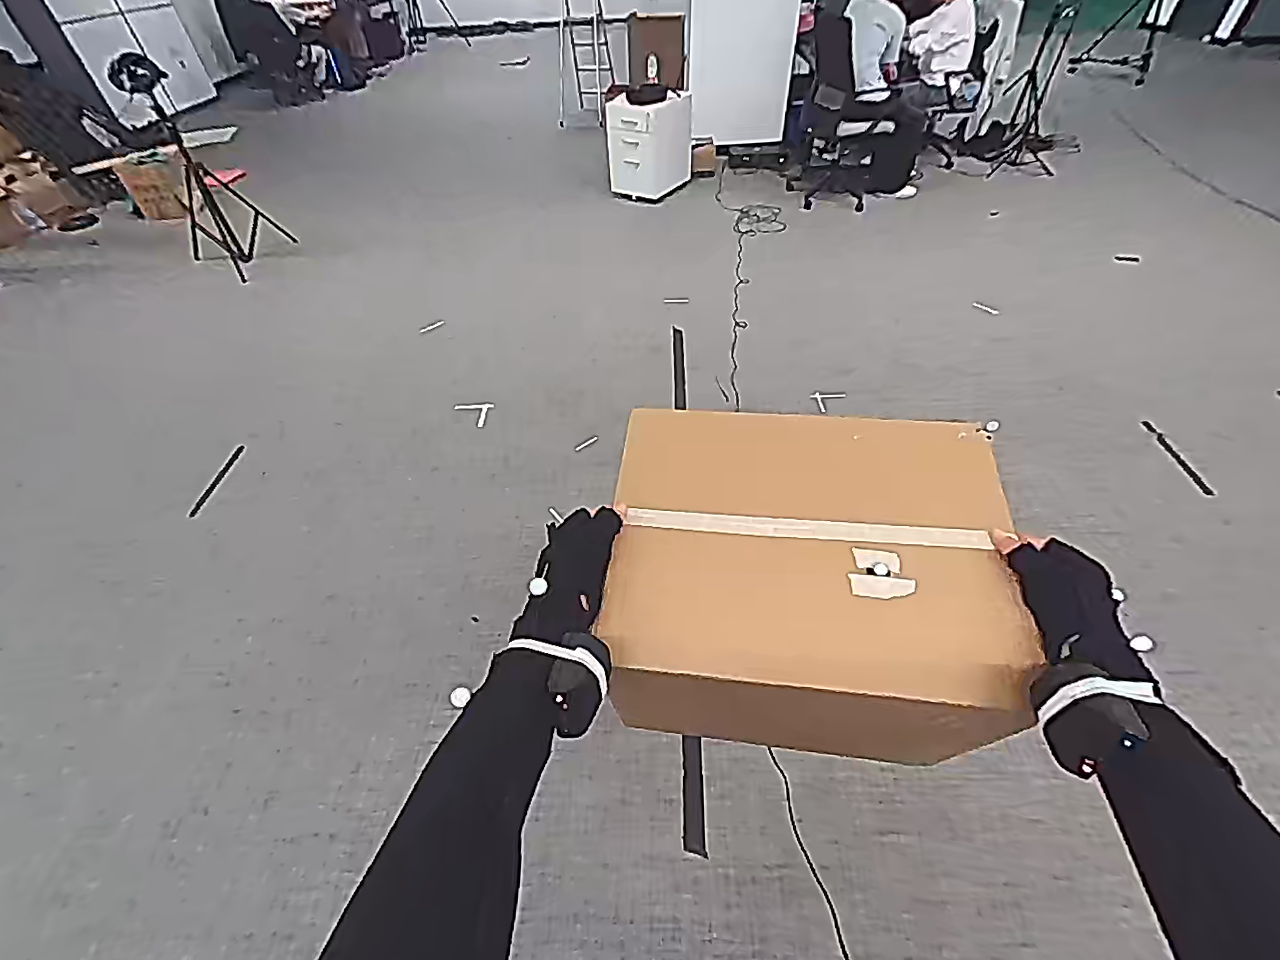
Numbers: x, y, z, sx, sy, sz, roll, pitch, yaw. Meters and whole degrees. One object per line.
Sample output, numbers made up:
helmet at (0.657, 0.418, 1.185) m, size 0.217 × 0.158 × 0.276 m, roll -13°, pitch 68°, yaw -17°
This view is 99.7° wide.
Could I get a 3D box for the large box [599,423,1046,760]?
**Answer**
large box at (0.181, 0.147, 0.692) m, size 0.408 × 0.320 × 0.320 m, roll 3°, pitch 56°, yaw 8°
